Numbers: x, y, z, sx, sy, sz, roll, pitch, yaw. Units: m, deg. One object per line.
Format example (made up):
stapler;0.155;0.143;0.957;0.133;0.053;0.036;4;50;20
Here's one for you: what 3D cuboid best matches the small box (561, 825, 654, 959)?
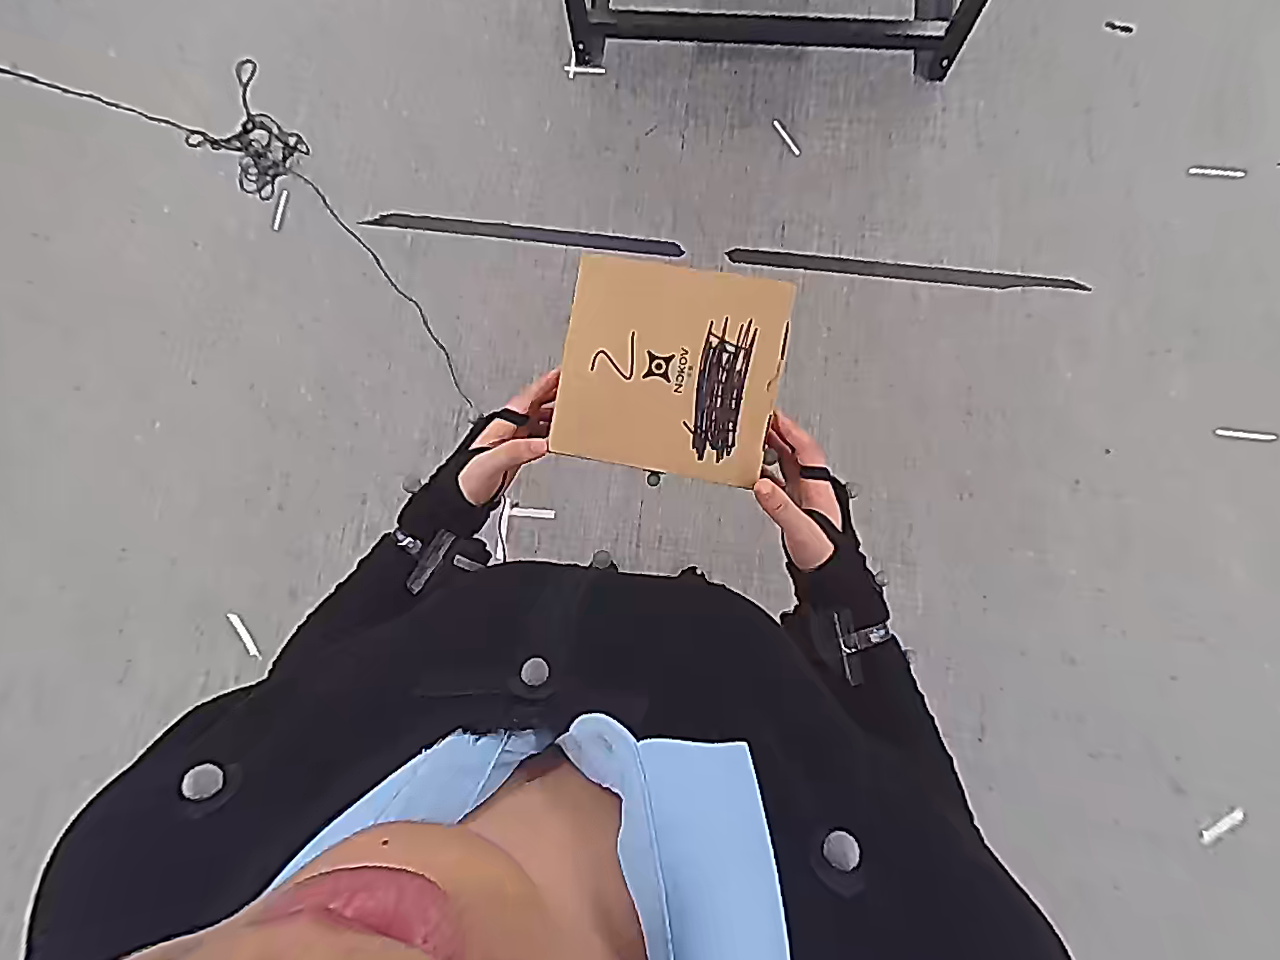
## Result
small box;-0.061;0.877;1.152;0.168;0.176;0.179;7;80;3
